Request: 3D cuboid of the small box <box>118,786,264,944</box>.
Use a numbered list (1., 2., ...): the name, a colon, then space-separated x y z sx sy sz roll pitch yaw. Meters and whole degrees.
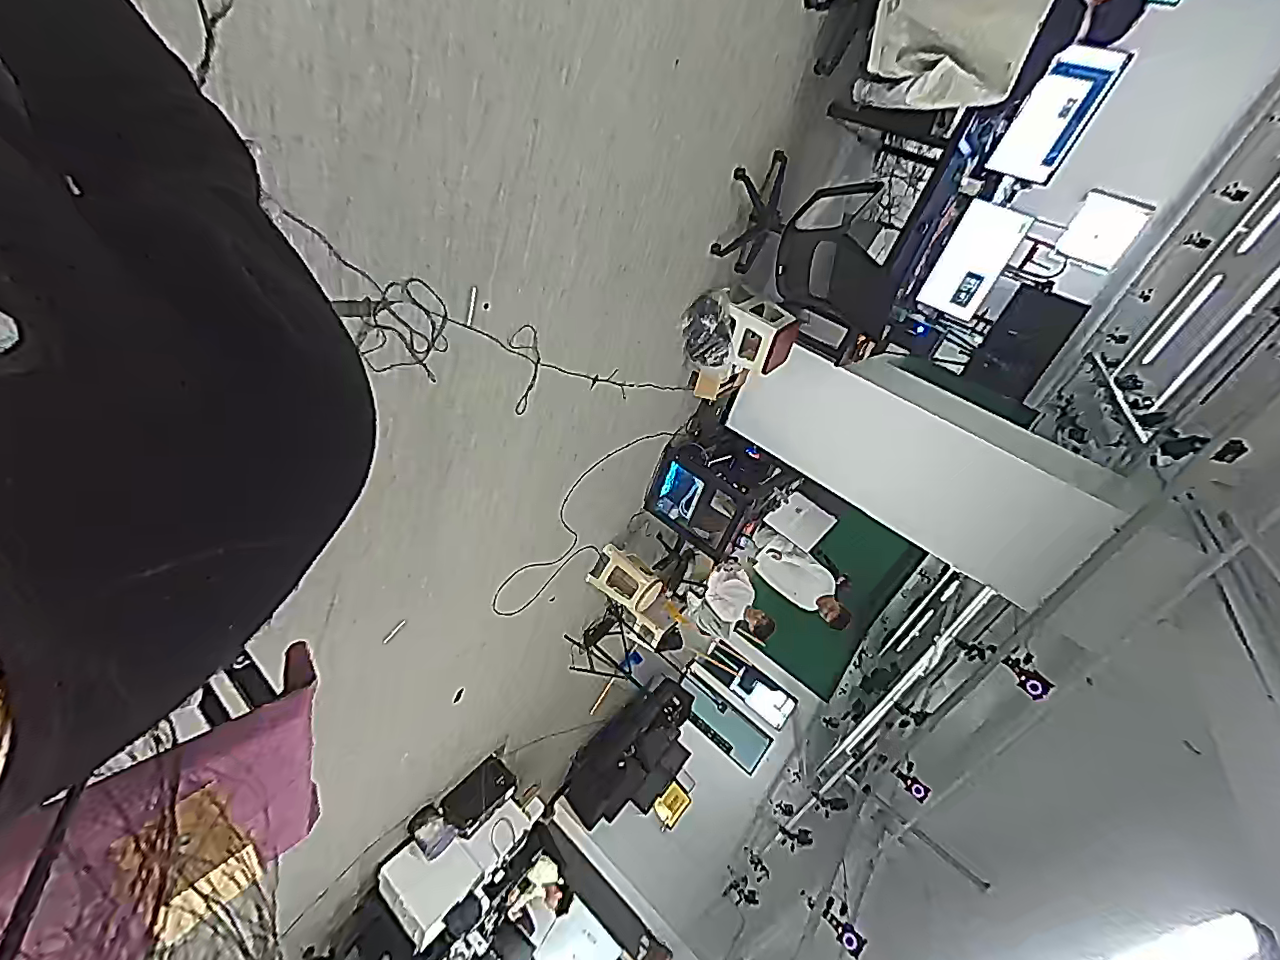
1. small box: -0.889 0.754 1.077 0.168 0.176 0.179 -27 146 -47
